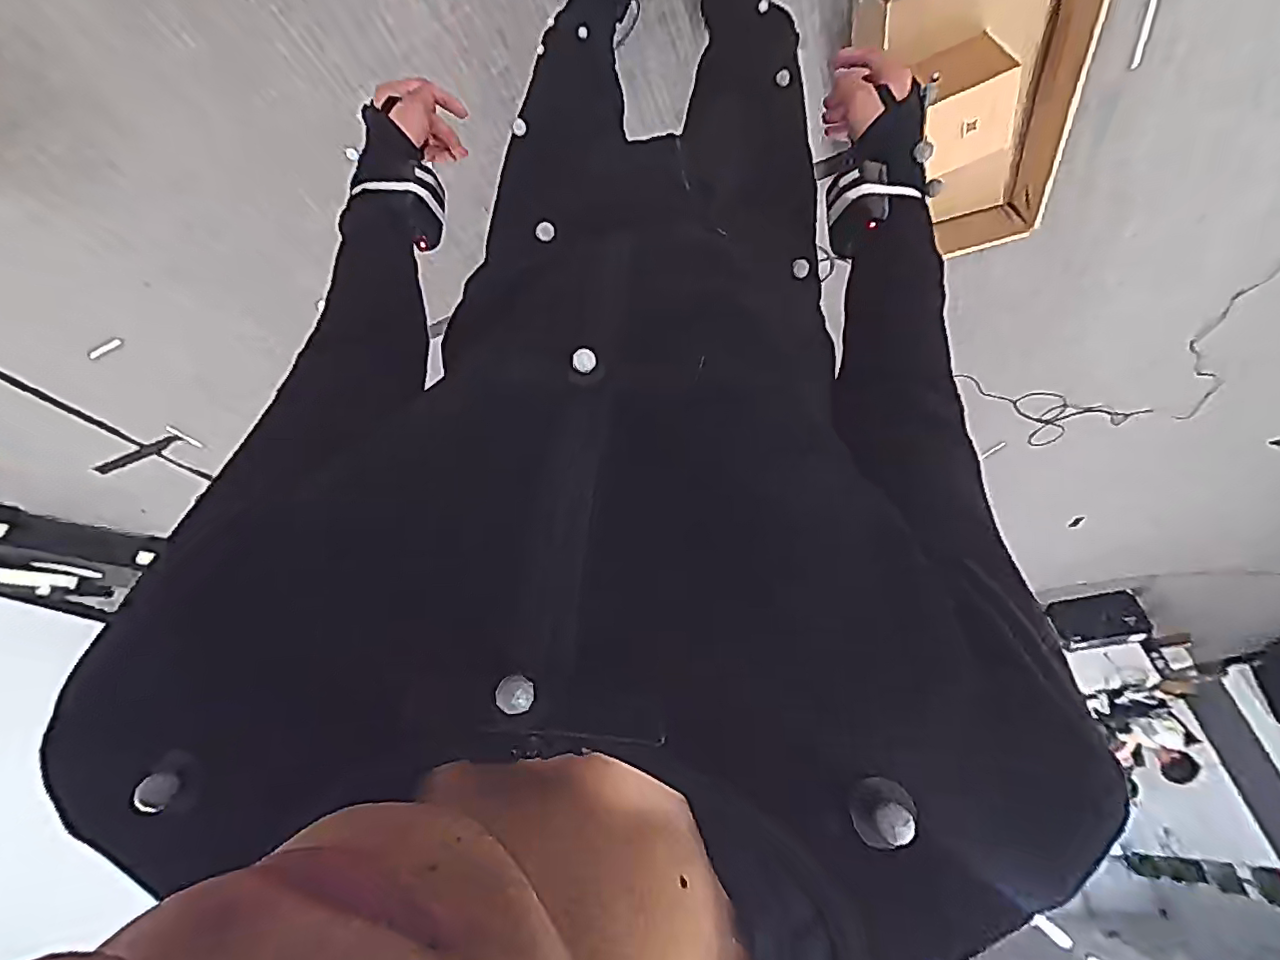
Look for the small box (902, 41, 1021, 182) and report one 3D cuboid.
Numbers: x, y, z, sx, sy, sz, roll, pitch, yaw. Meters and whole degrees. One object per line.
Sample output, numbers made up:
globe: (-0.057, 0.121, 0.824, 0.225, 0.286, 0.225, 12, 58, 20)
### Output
small box: (0.680, -0.794, 1.170, 0.179, 0.176, 0.168, -16, 145, 17)
